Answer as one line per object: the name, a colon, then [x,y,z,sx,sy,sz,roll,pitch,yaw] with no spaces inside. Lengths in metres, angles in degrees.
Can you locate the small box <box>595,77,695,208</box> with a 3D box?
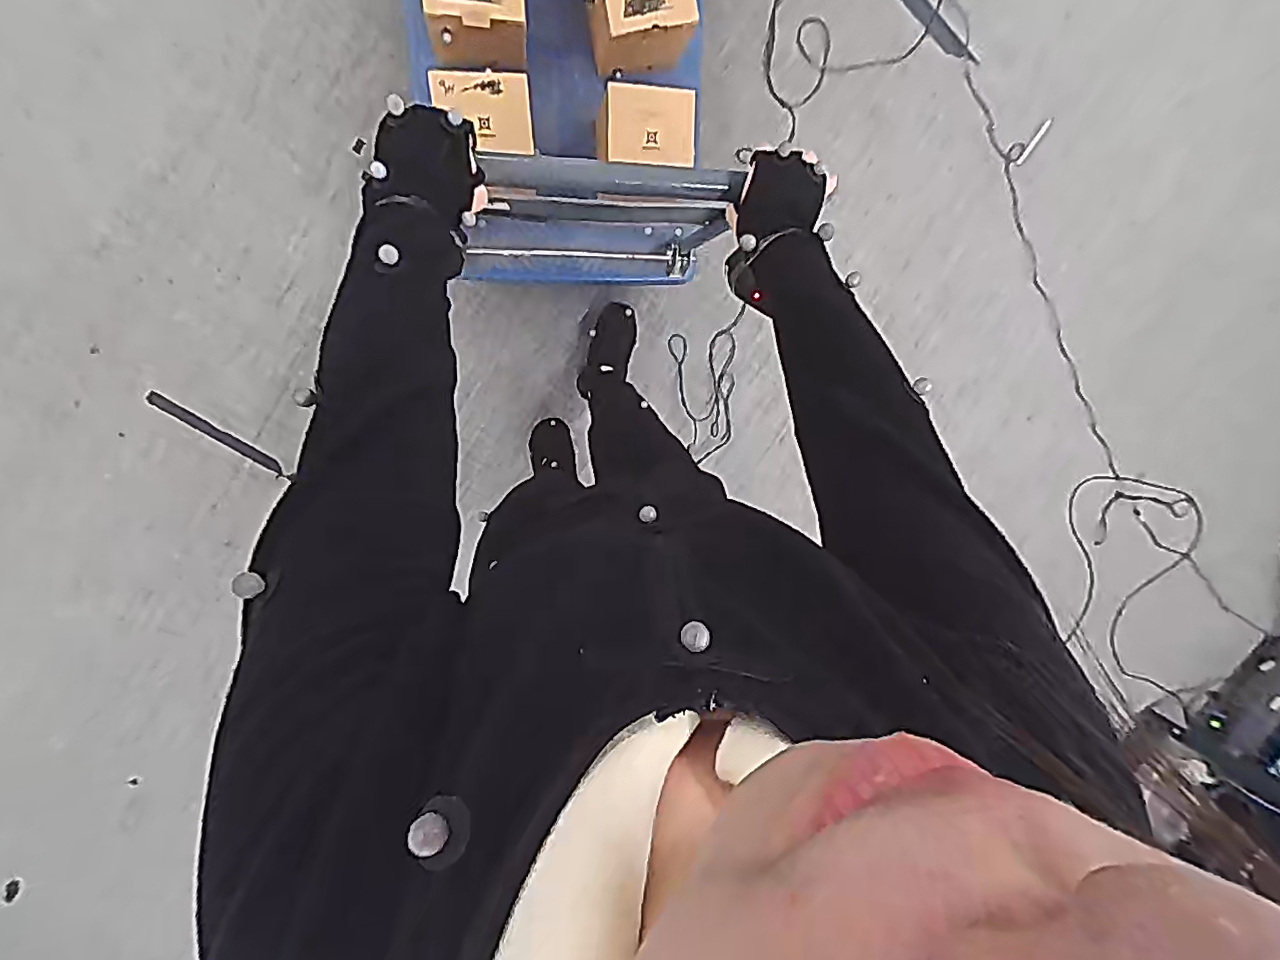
small box: [0.004,-0.654,1.071,0.168,0.176,0.179,-2,104,-12]

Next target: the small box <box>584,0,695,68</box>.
small box: [-0.010,-0.903,1.006,0.168,0.176,0.179,-15,105,-8]

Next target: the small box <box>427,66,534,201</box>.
small box: [-0.288,-0.634,1.012,0.168,0.176,0.179,-6,105,-11]
